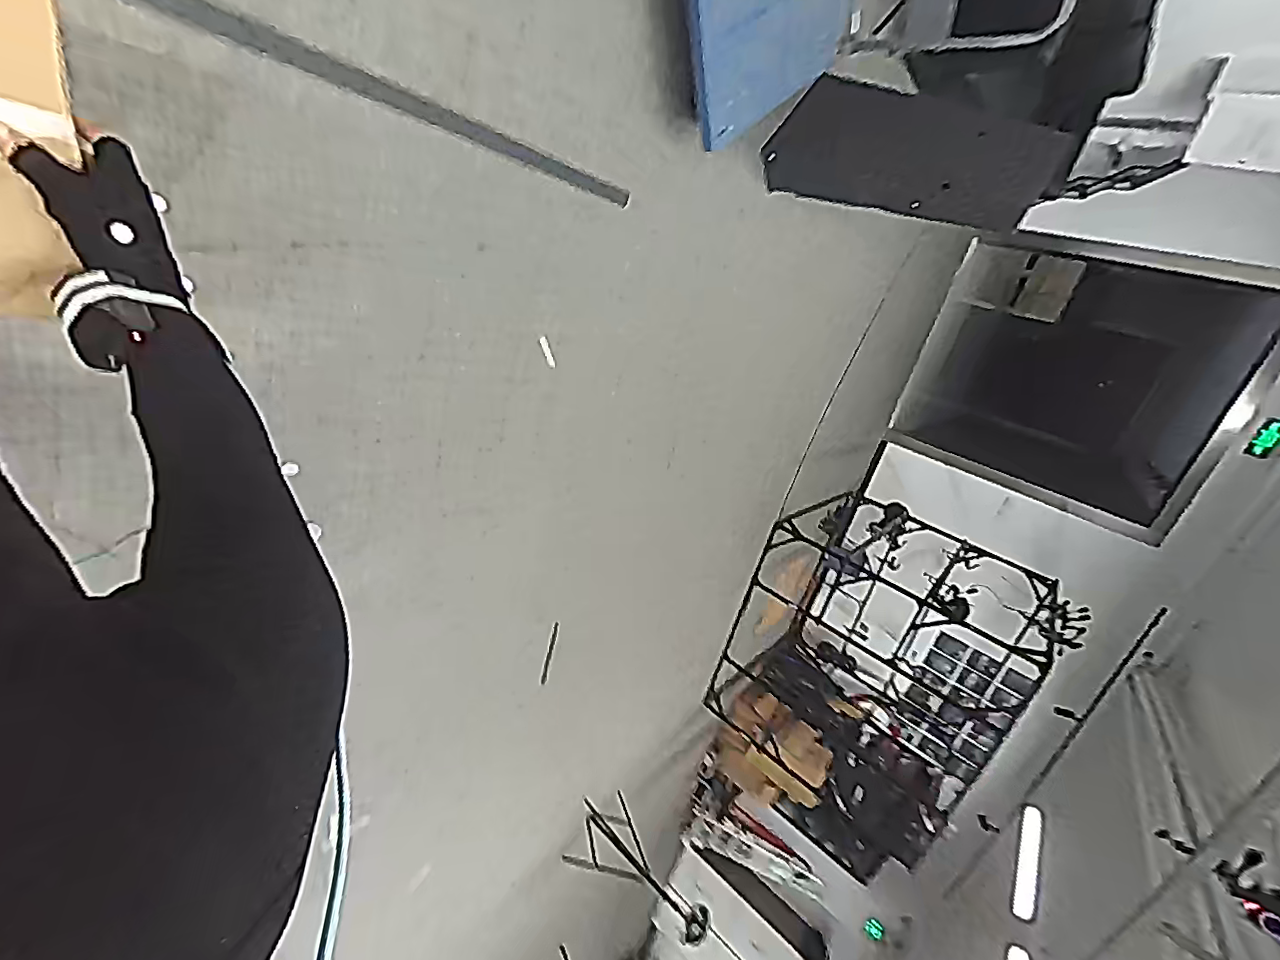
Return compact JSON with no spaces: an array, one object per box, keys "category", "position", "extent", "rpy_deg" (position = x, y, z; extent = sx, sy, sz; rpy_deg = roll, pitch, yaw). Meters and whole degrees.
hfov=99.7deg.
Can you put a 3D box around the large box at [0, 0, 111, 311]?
[{"category":"large box","position":[-0.716,-0.312,0.398],"extent":[0.408,0.320,0.320],"rpy_deg":[-13,117,-49]}]
